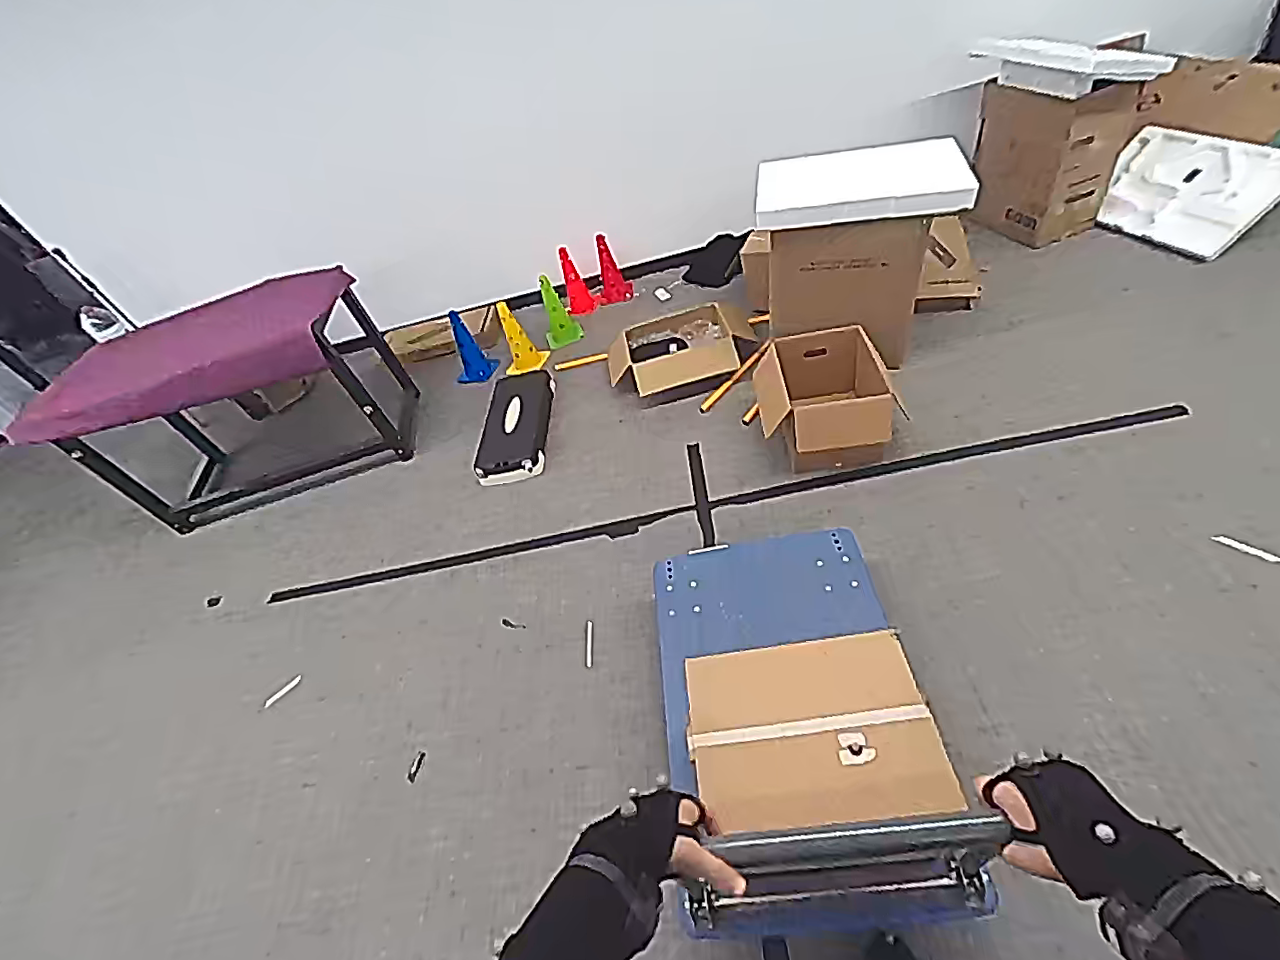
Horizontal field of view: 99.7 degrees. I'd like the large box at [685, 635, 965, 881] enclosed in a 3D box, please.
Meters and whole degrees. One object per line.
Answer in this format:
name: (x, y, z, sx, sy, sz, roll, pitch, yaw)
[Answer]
large box: (0.318, 0.538, 1.036, 0.408, 0.320, 0.320, -10, 46, 7)
